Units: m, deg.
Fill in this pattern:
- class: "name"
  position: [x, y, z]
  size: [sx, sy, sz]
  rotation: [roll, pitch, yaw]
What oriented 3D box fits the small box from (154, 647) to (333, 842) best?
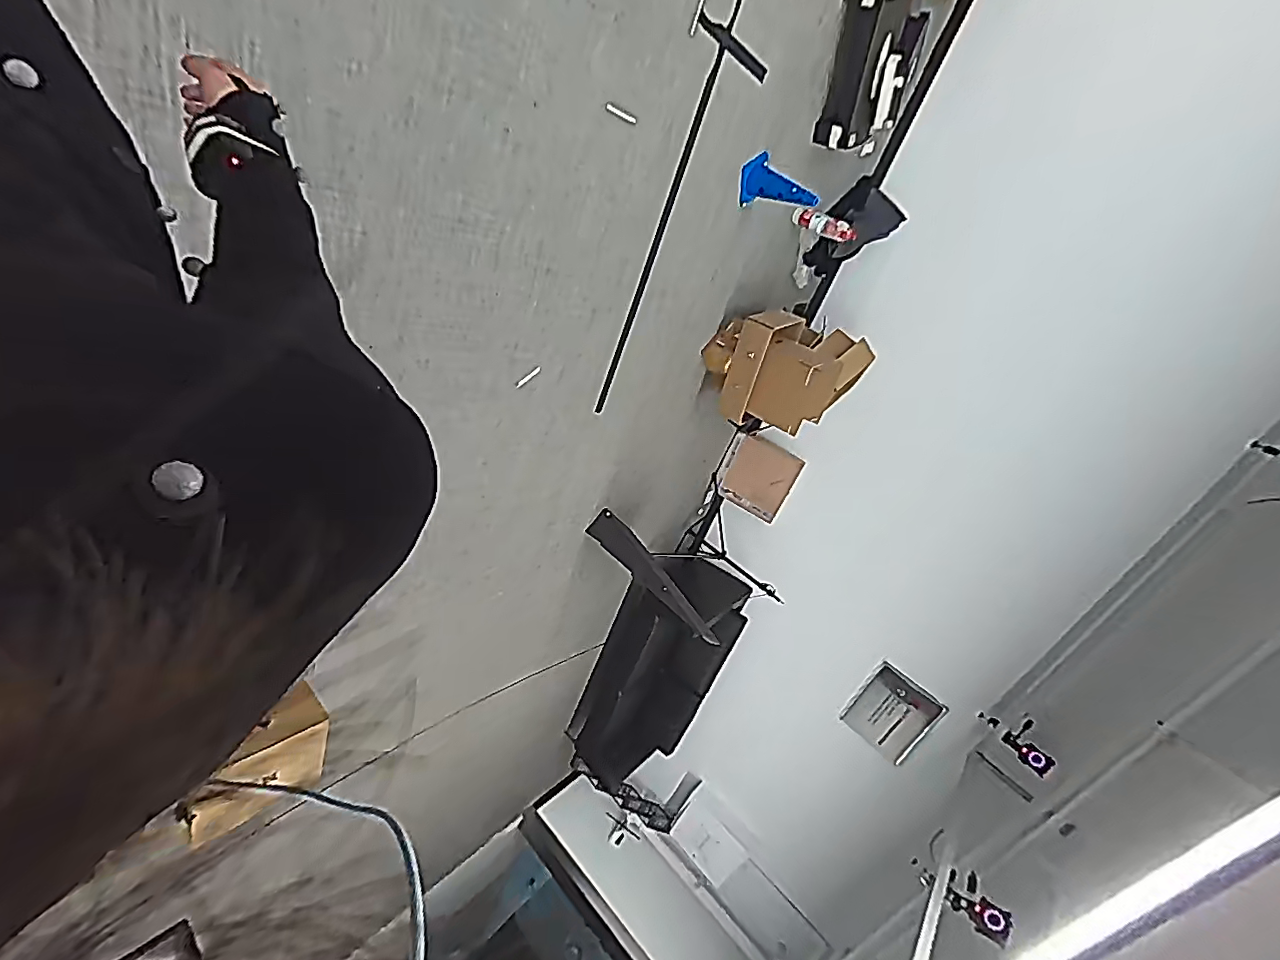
- class: "small box"
  position: [-0.610, 0.391, 0.834]
  size: [0.179, 0.176, 0.168]
  rotation: [-14, 134, -51]
